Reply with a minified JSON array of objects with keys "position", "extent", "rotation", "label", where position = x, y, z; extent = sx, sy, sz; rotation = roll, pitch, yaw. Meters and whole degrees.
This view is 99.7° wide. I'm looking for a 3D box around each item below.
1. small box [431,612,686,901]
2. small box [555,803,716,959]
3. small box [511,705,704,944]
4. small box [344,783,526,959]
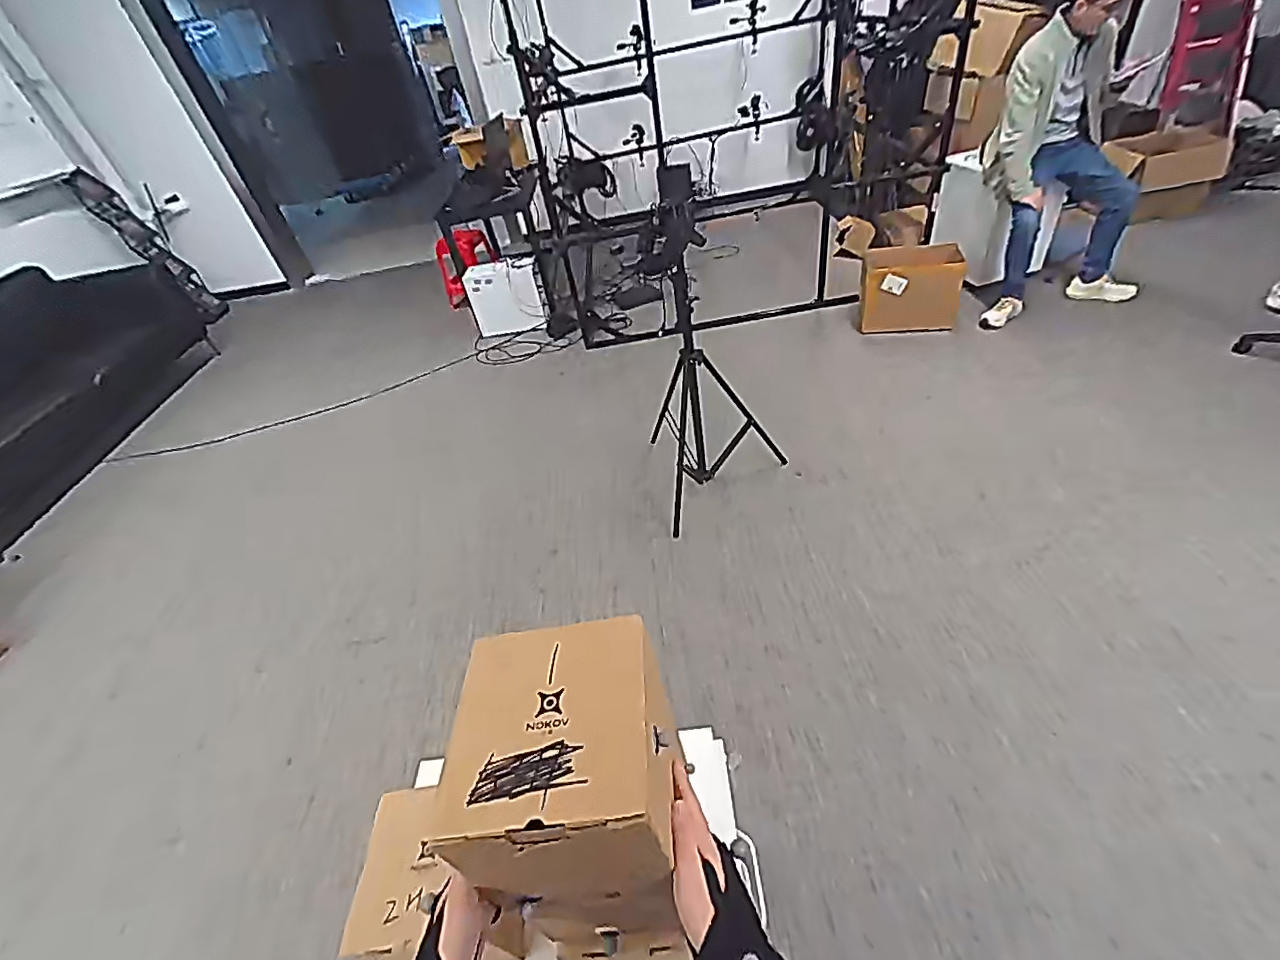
[{"position":[-0.057,0.252,0.489],"extent":[0.168,0.176,0.179],"rotation":[-11,36,5],"label":"small box"},{"position":[0.000,0.506,0.693],"extent":[0.168,0.176,0.179],"rotation":[-9,41,6],"label":"small box"},{"position":[-0.027,0.376,0.596],"extent":[0.168,0.176,0.179],"rotation":[-10,40,5],"label":"small box"},{"position":[-0.252,0.530,0.725],"extent":[0.168,0.176,0.179],"rotation":[-10,41,2],"label":"small box"}]
